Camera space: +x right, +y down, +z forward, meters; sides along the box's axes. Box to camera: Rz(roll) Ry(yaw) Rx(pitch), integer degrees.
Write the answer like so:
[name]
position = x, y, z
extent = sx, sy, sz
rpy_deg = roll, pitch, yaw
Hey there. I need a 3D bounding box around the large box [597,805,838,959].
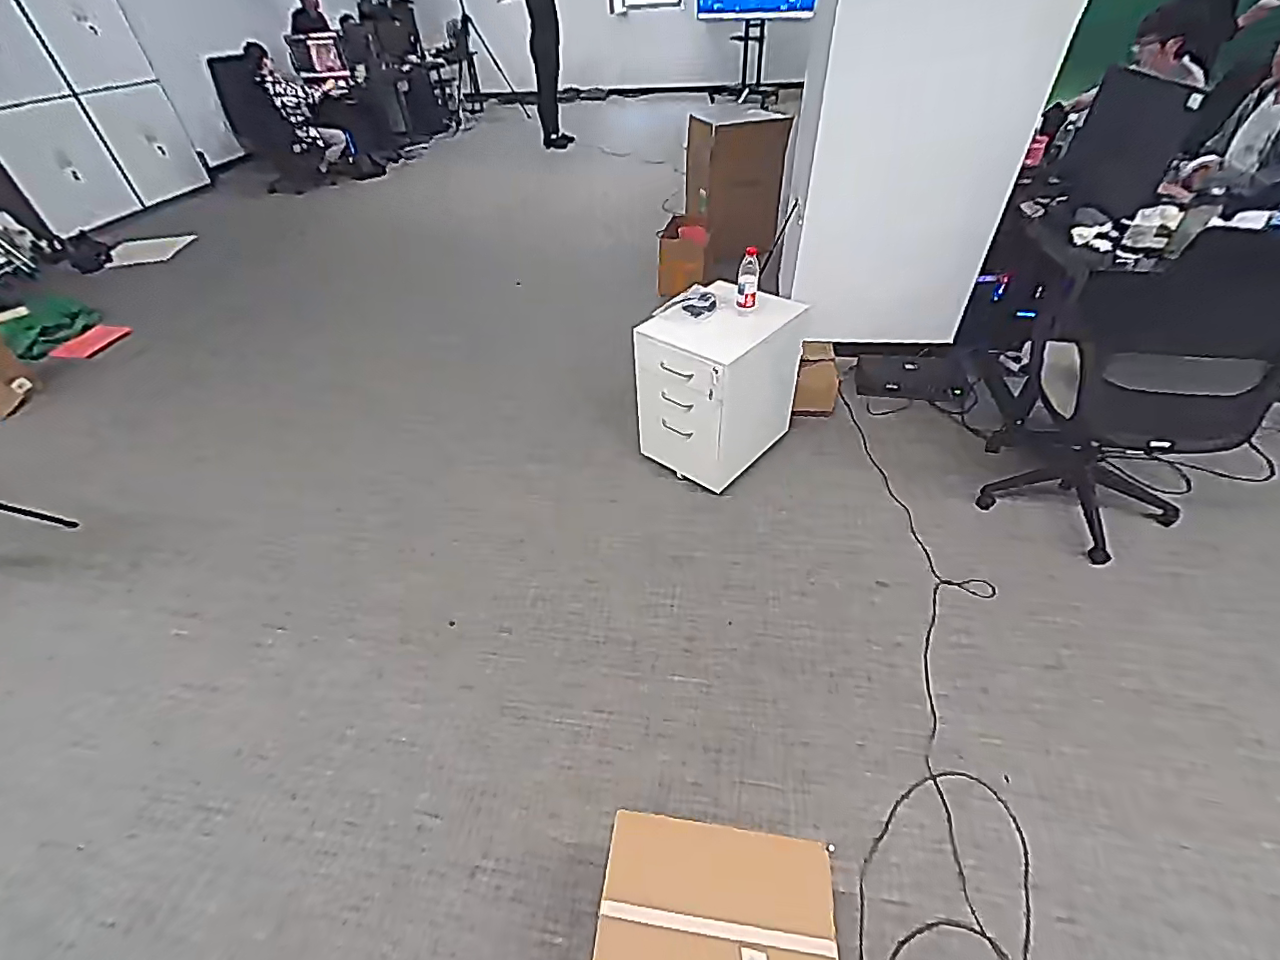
[large box]
position = 0.139, 0.871, 1.039
extent = 0.408, 0.320, 0.320
rpy_deg = 5, 44, 8
